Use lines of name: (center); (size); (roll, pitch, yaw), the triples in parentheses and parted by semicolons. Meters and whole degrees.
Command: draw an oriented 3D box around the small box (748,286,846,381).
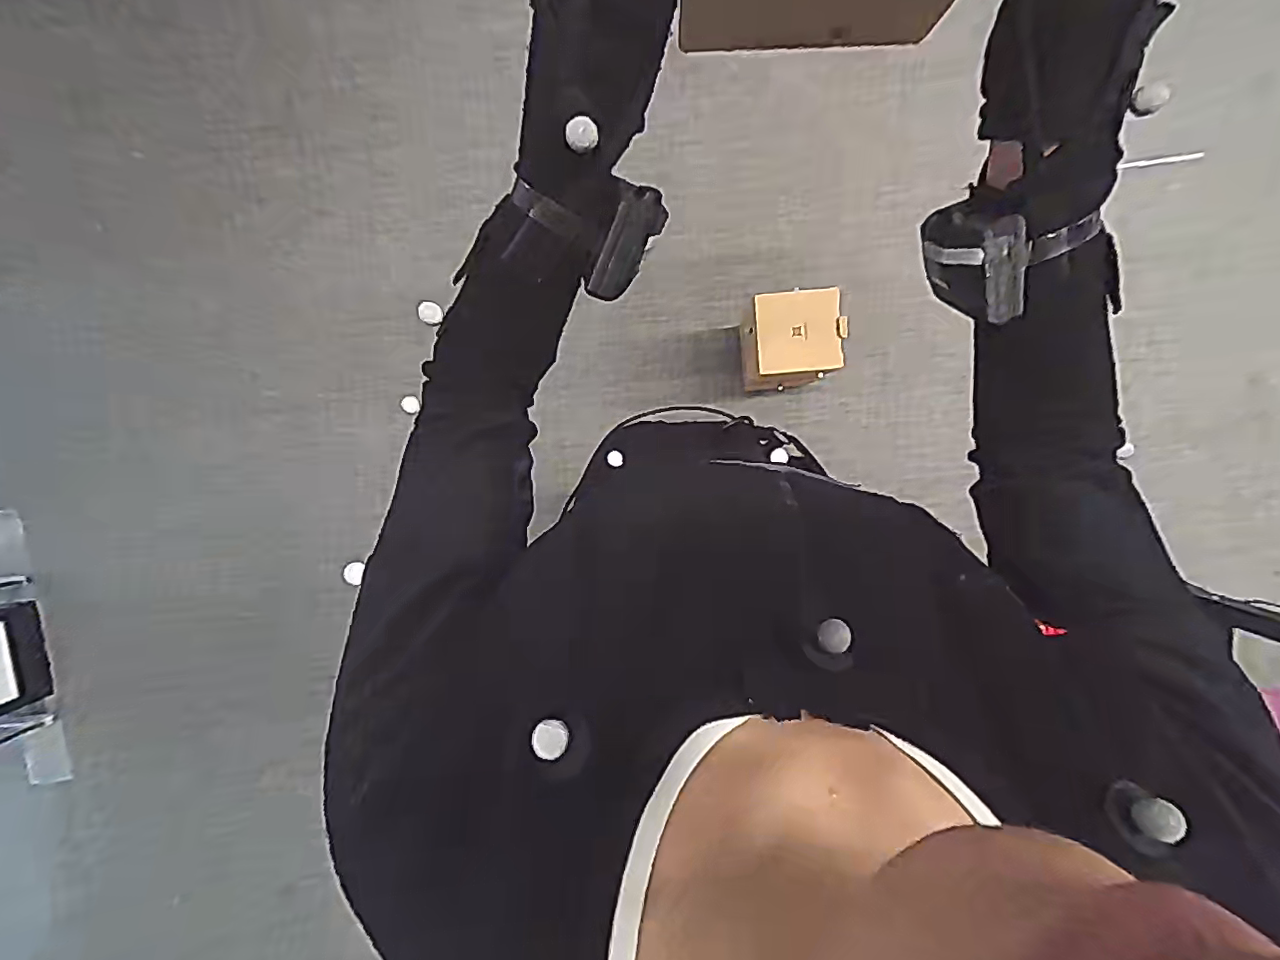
small box: (0.335, -0.314, 1.189); (0.179, 0.176, 0.168); (-5, 94, 3)
